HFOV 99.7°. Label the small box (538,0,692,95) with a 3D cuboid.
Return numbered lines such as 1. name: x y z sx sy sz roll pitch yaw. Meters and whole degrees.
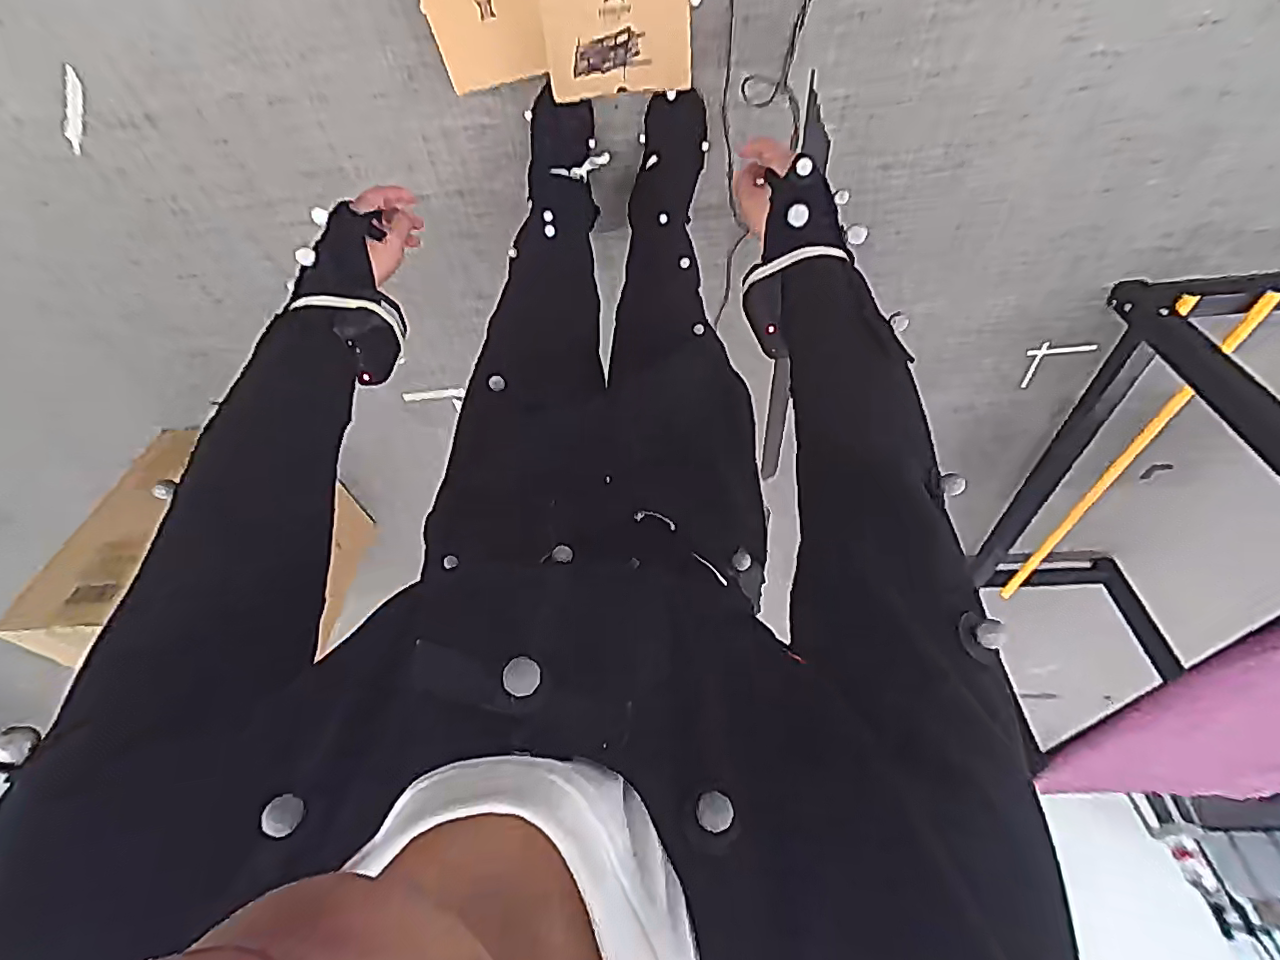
1. small box: -0.024 -0.571 0.615 0.168 0.176 0.179 -2 139 5
